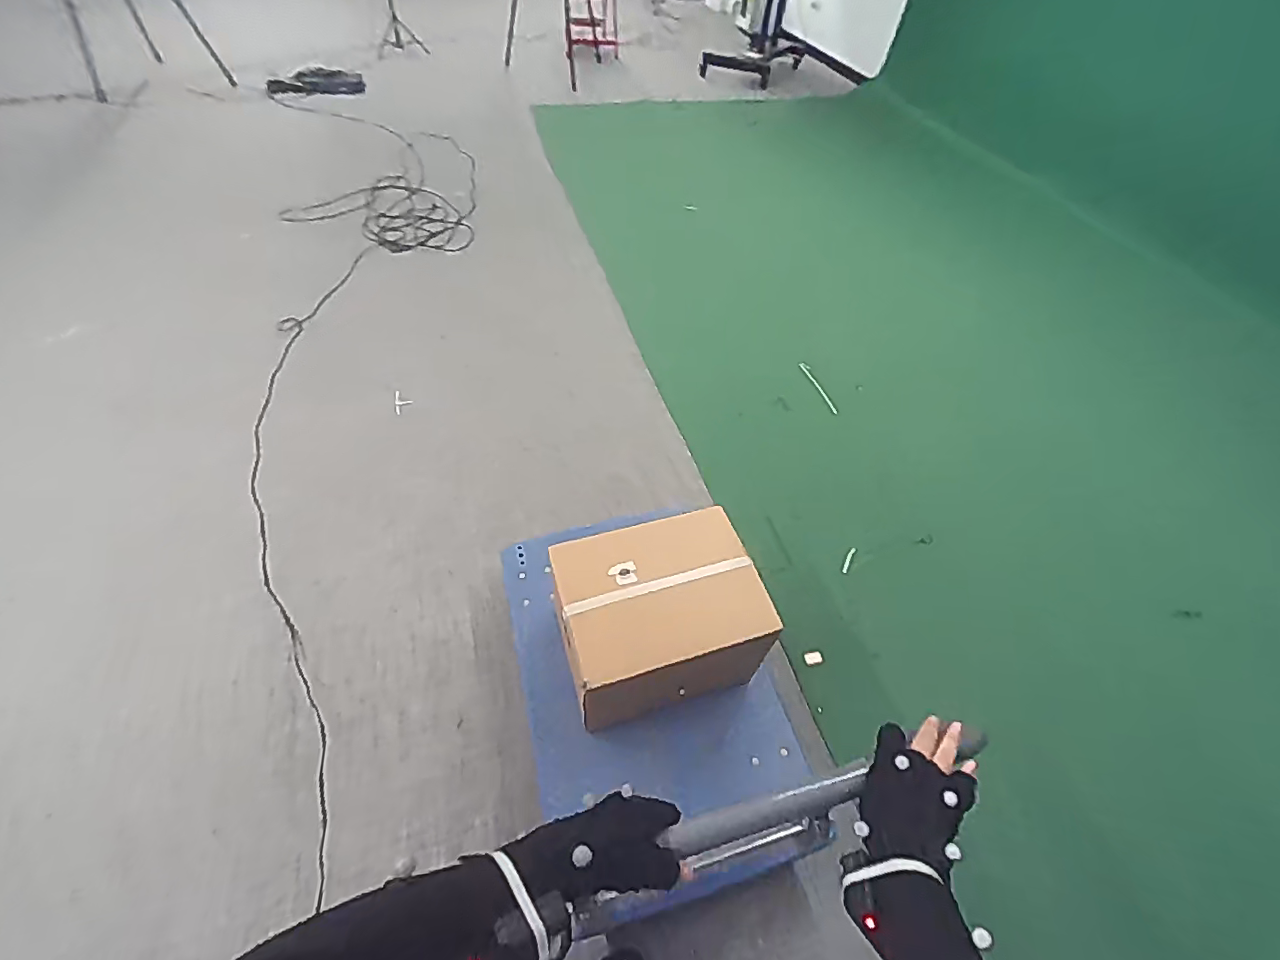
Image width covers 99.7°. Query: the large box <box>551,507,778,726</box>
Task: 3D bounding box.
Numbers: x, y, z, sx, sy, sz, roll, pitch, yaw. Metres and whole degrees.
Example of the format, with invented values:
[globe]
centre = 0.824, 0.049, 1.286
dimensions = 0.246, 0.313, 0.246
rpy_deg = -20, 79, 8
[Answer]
[large box]
centre = 0.037, 0.311, 1.232
dimensions = 0.408, 0.320, 0.320
rpy_deg = -13, 54, -14
